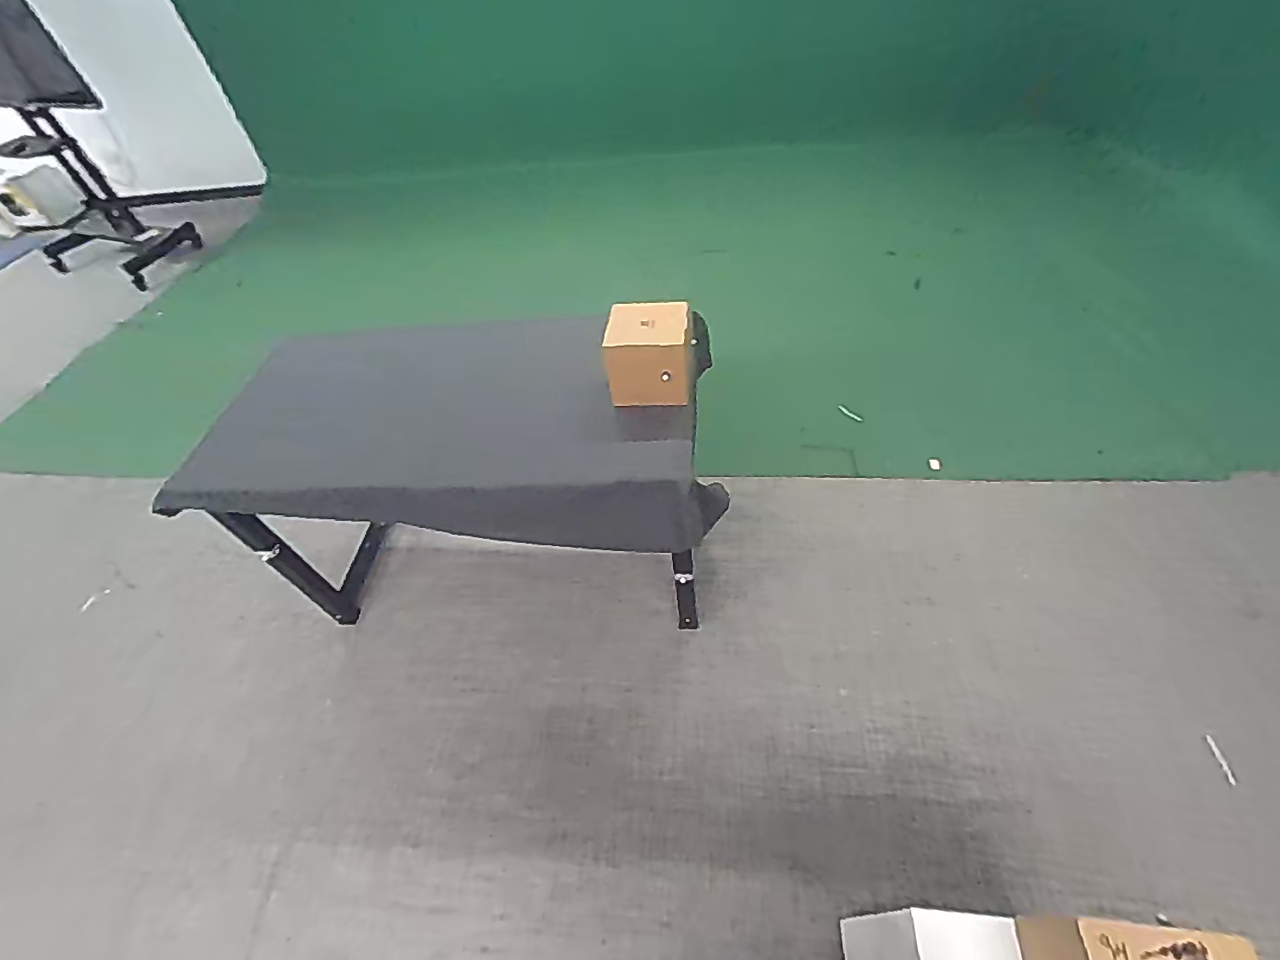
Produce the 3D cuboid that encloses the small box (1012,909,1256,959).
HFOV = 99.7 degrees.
[{"bbox_3d":[0.547,0.589,0.586,0.168,0.176,0.179,1,53,9],"label":"small box"}]

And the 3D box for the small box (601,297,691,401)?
[{"bbox_3d":[0.022,-0.292,1.225,0.179,0.176,0.168,0,49,10],"label":"small box"}]
